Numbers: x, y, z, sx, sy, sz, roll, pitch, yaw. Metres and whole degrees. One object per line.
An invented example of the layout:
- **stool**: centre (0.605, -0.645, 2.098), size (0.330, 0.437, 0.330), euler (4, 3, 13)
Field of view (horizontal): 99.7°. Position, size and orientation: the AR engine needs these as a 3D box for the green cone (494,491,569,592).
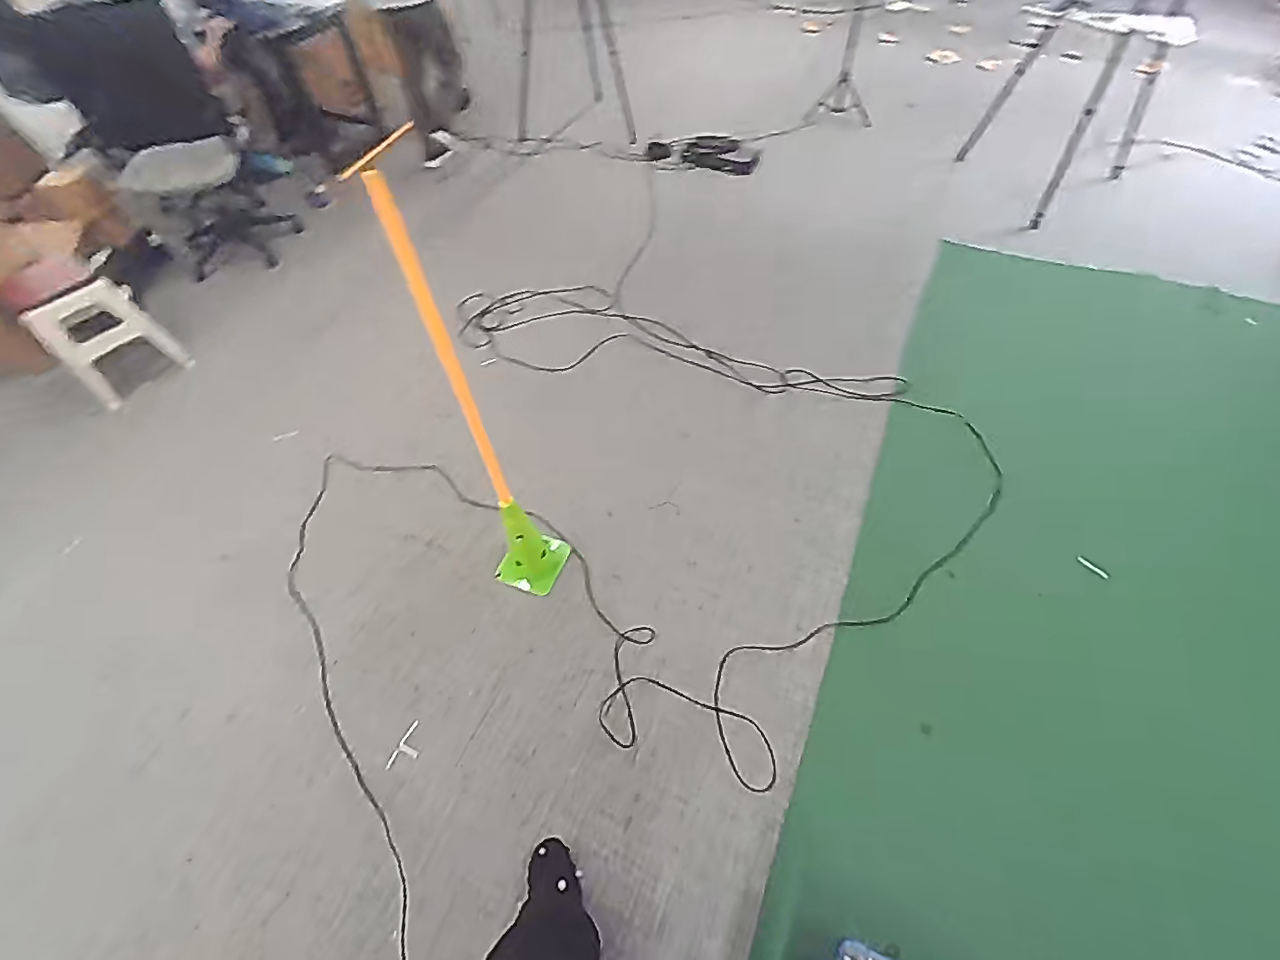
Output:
- **green cone**: centre (-0.364, 0.158, 1.653), size (0.200, 0.368, 0.202), euler (15, 55, 15)
